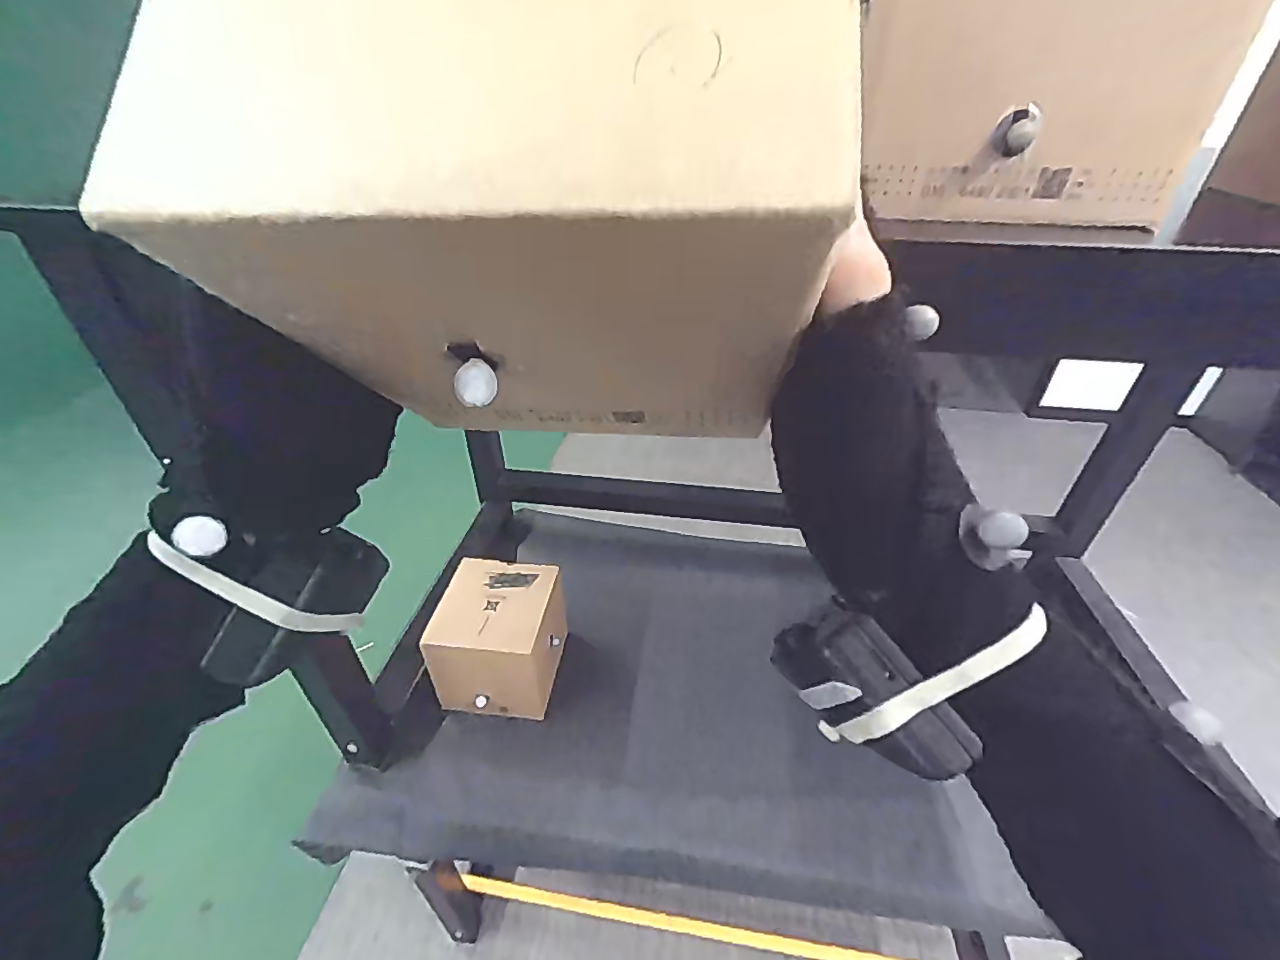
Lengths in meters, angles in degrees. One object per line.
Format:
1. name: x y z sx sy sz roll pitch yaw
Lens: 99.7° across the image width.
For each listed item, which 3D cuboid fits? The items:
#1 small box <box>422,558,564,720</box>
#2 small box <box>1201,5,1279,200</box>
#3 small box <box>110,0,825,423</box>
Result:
1. small box: -0.220 0.250 0.866 0.168 0.176 0.179 4 36 5
2. small box: 0.478 -0.239 0.287 0.168 0.176 0.179 10 36 14
3. small box: -0.029 -0.126 0.209 0.168 0.176 0.179 2 79 7
